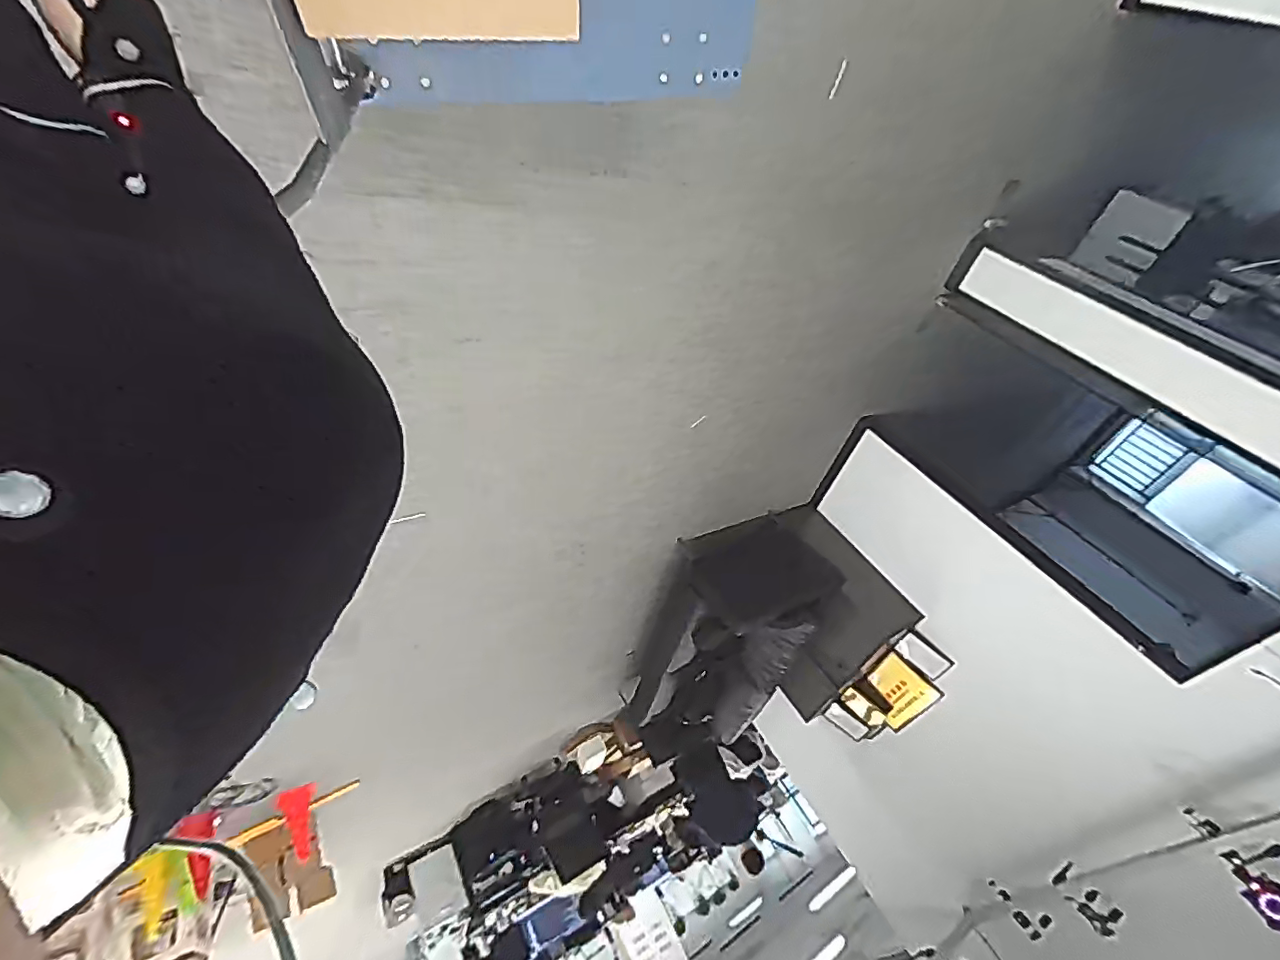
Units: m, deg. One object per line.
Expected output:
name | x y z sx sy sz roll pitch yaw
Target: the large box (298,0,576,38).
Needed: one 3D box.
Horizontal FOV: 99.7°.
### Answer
large box | -0.325 -0.892 0.808 0.408 0.320 0.320 -9 141 -11
